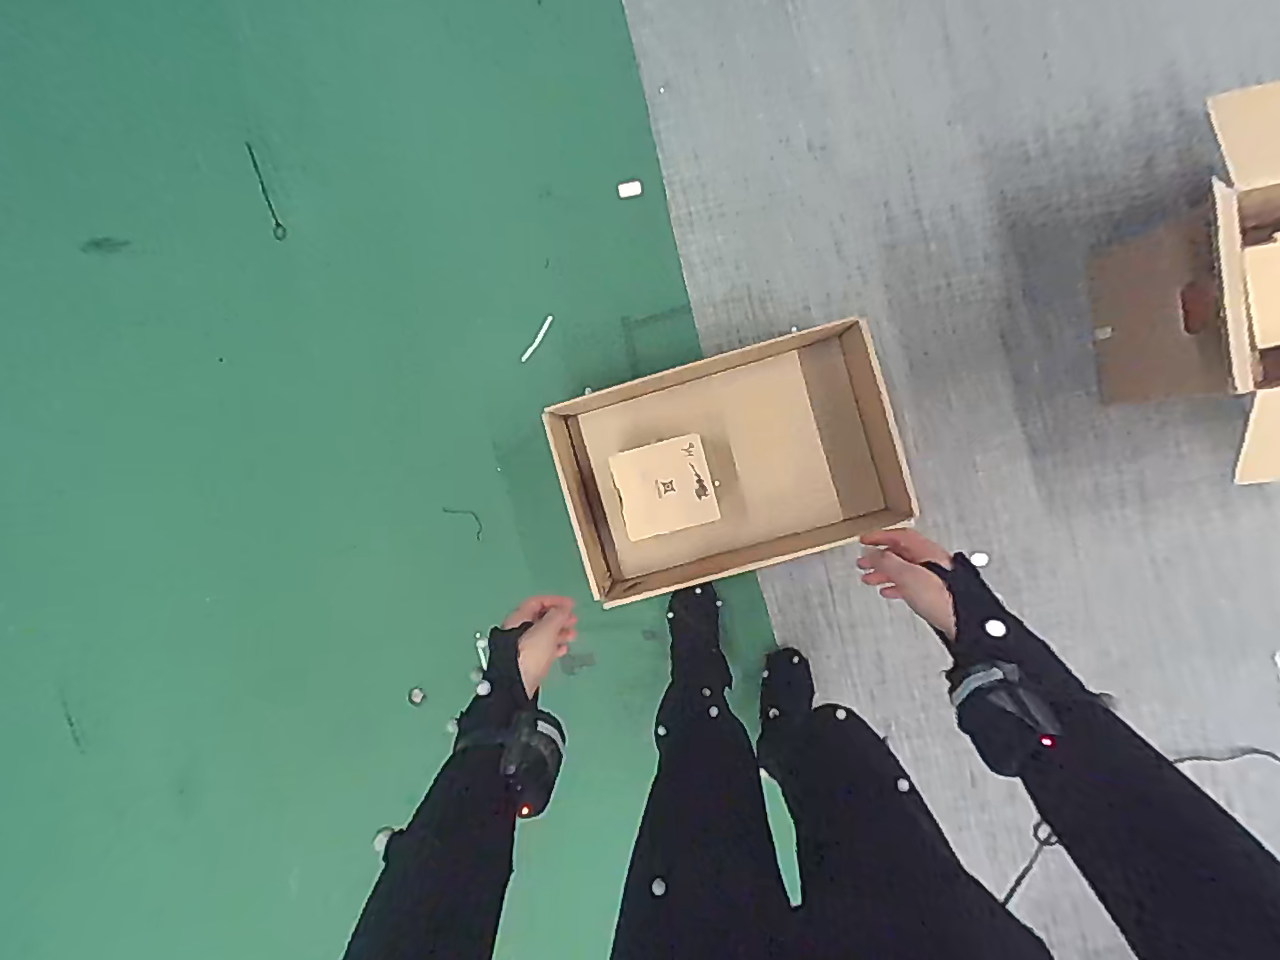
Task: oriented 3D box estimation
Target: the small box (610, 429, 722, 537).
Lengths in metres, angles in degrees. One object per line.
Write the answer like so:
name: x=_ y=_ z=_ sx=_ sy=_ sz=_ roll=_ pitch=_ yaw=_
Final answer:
small box: x=0.055 y=0.006 z=1.063 sx=0.179 sy=0.176 sz=0.168 roll=-15 pitch=90 yaw=5
